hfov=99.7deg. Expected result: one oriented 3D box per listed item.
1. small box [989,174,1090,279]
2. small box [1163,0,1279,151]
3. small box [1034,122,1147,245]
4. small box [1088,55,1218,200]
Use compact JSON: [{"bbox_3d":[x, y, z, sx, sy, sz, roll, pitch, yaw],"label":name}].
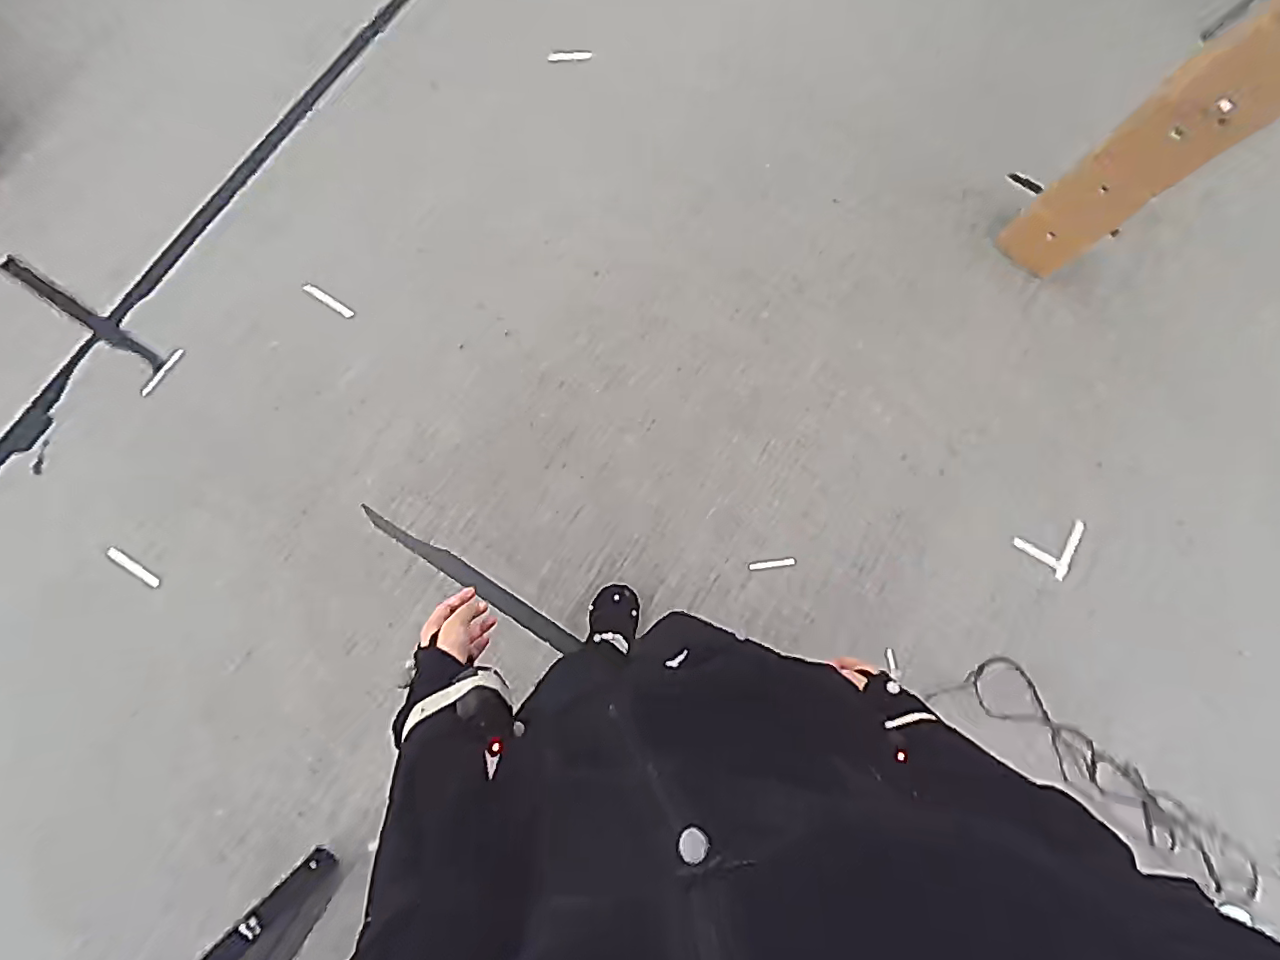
[{"bbox_3d":[1.138,-0.697,1.513,0.179,0.176,0.168,39,81,5],"label":"small box"},{"bbox_3d":[1.176,-0.788,1.033,0.168,0.176,0.179,39,82,6],"label":"small box"},{"bbox_3d":[1.149,-0.733,1.353,0.179,0.176,0.168,42,81,5],"label":"small box"},{"bbox_3d":[1.160,-0.769,1.196,0.179,0.176,0.168,39,82,4],"label":"small box"}]
